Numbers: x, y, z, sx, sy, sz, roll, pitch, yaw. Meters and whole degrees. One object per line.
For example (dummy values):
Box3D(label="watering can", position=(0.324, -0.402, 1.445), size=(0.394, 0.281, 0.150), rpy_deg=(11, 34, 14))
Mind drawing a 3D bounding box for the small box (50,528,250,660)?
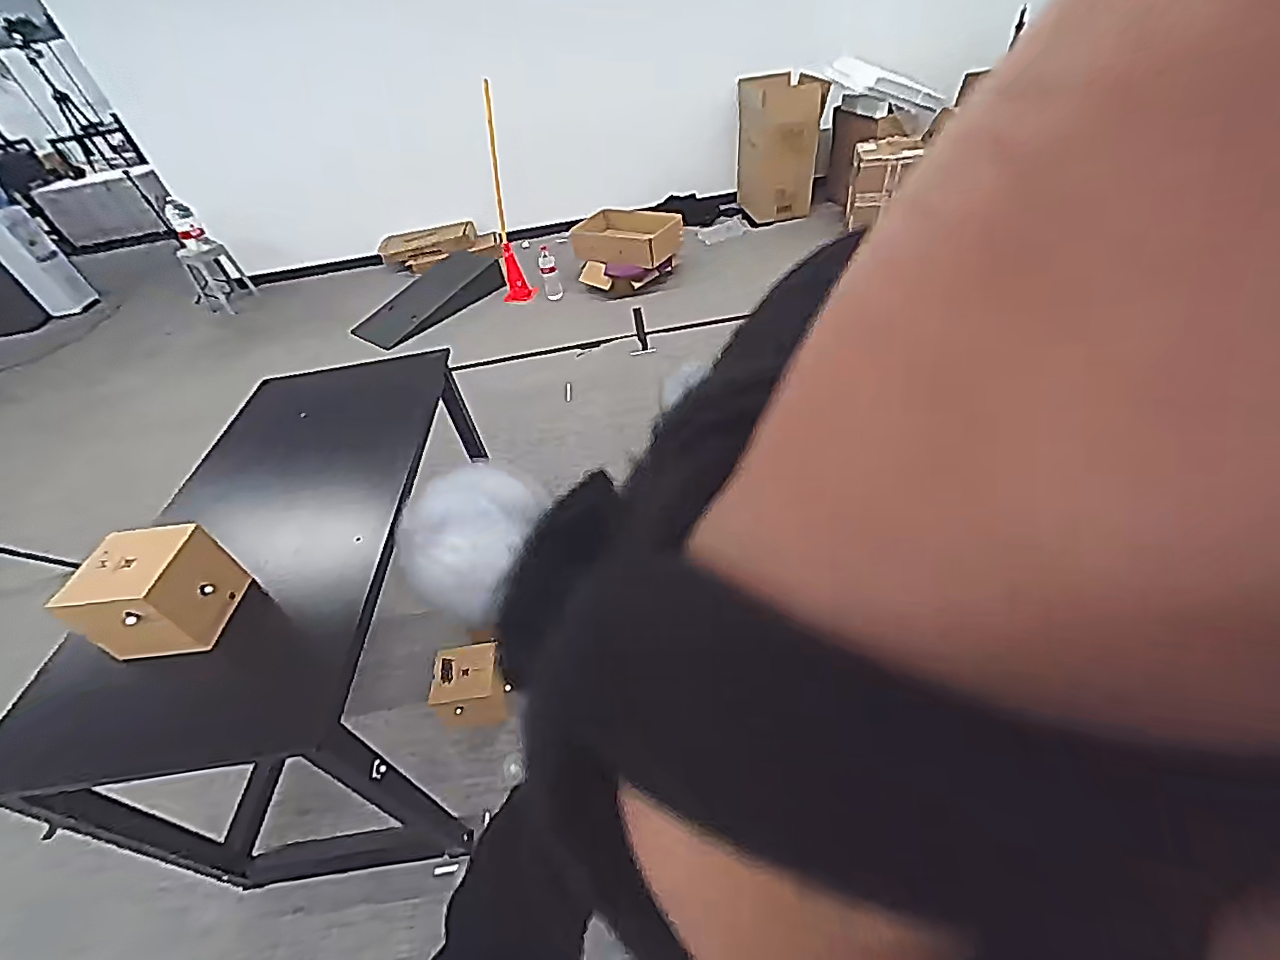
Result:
Box3D(label="small box", position=(-0.873, 0.211, 0.990), size=(0.179, 0.176, 0.168), rpy_deg=(-7, 42, 4))

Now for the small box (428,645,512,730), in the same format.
Box3D(label="small box", position=(-0.485, 0.605, 1.567), size=(0.179, 0.176, 0.168), rpy_deg=(-9, 43, 0))
